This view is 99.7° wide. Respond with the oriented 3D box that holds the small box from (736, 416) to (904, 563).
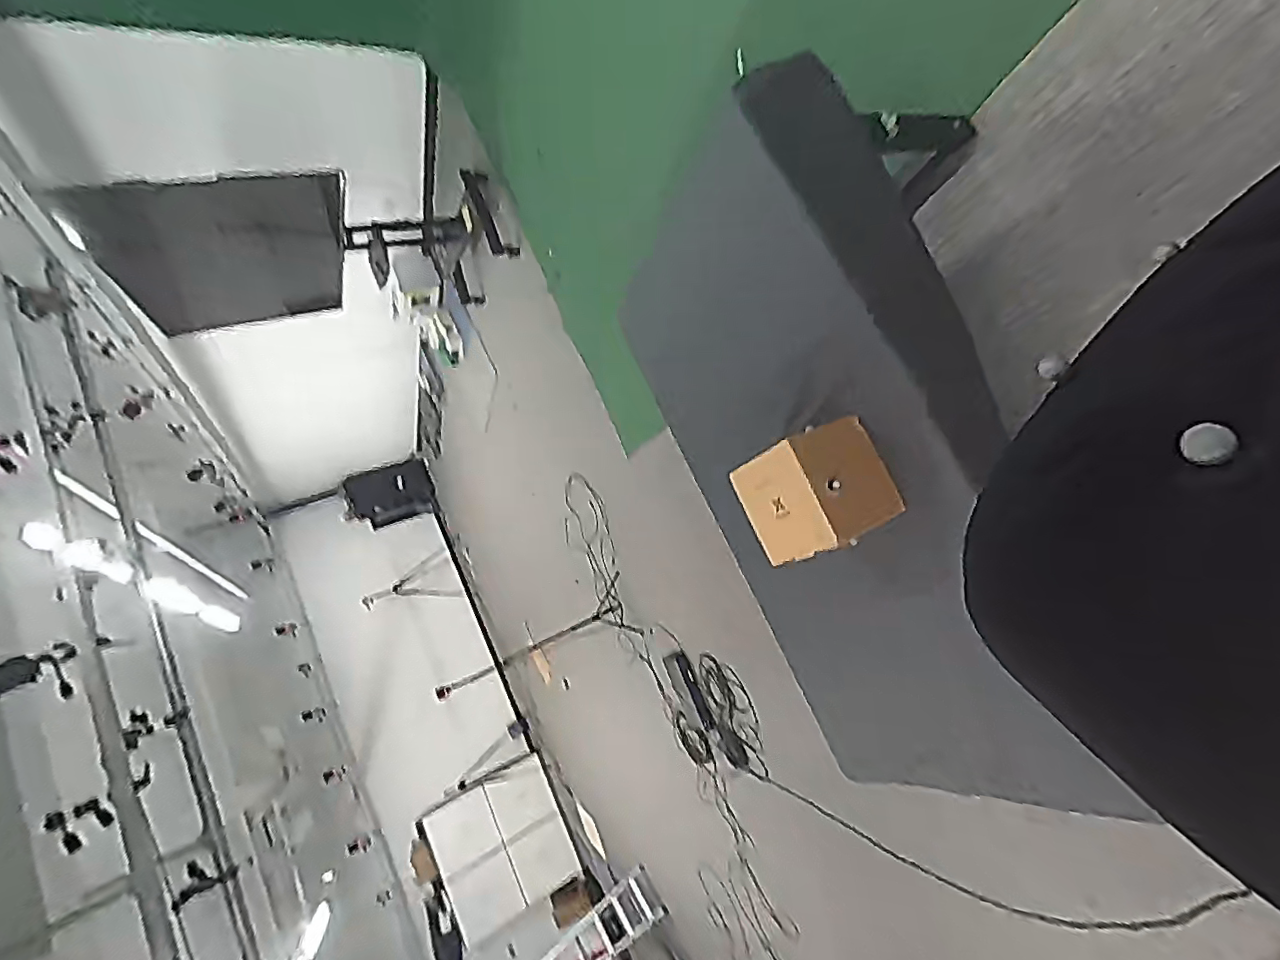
[{"bbox_3d":[0.299,0.016,0.904,0.179,0.176,0.168,66,151,10],"label":"small box"}]
